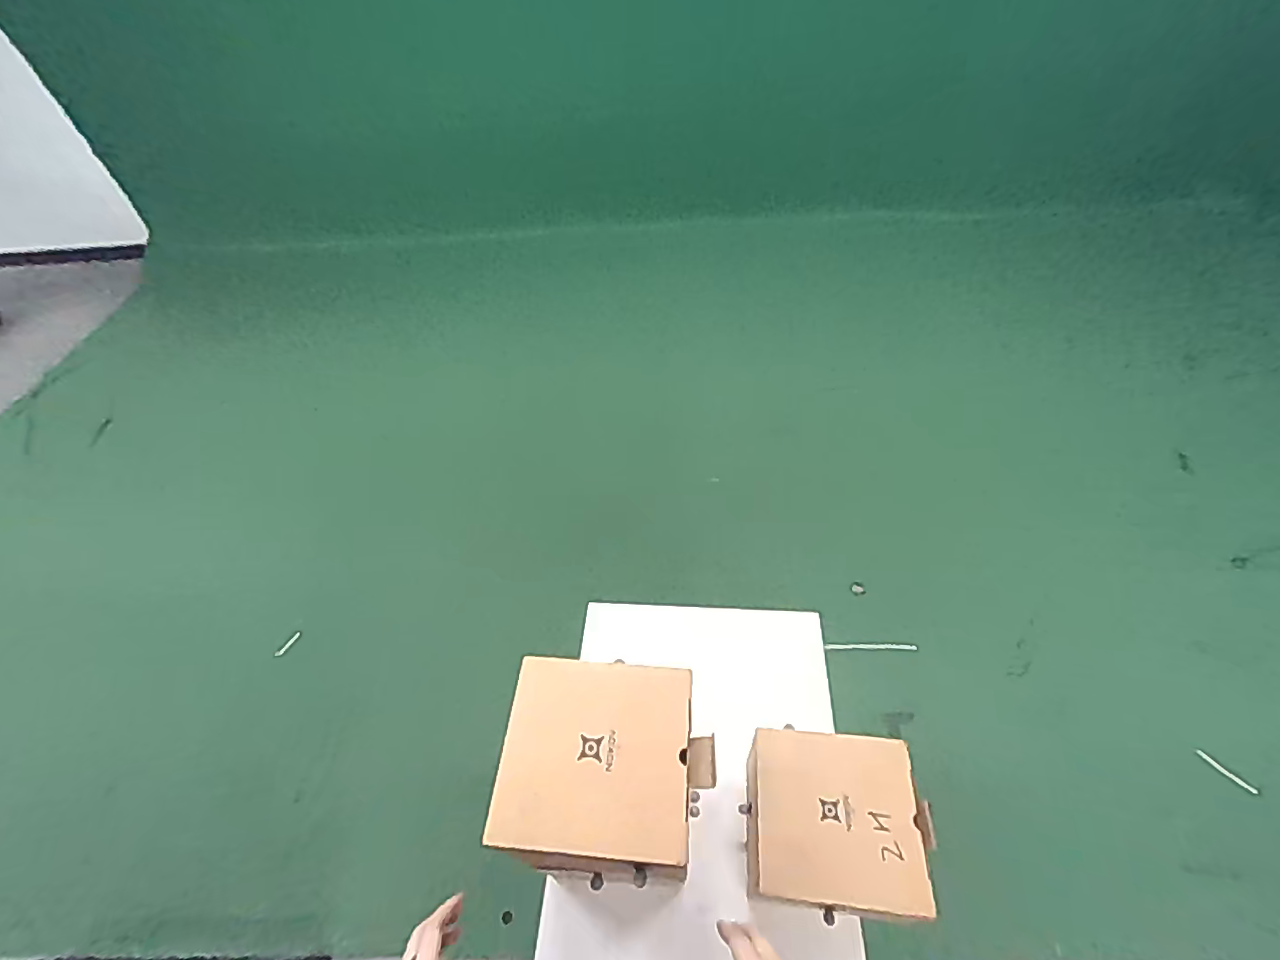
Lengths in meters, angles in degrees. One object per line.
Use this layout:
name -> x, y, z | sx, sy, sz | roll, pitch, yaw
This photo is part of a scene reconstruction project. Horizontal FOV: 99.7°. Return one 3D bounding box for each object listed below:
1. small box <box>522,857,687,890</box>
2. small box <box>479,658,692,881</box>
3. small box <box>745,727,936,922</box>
small box -> -0.030, 0.402, 0.675 | 0.179, 0.176, 0.168 | 0, 50, 4
small box -> -0.038, 0.296, 0.550 | 0.179, 0.176, 0.168 | 2, 50, 4
small box -> 0.218, 0.412, 0.644 | 0.179, 0.176, 0.168 | 3, 51, 7
